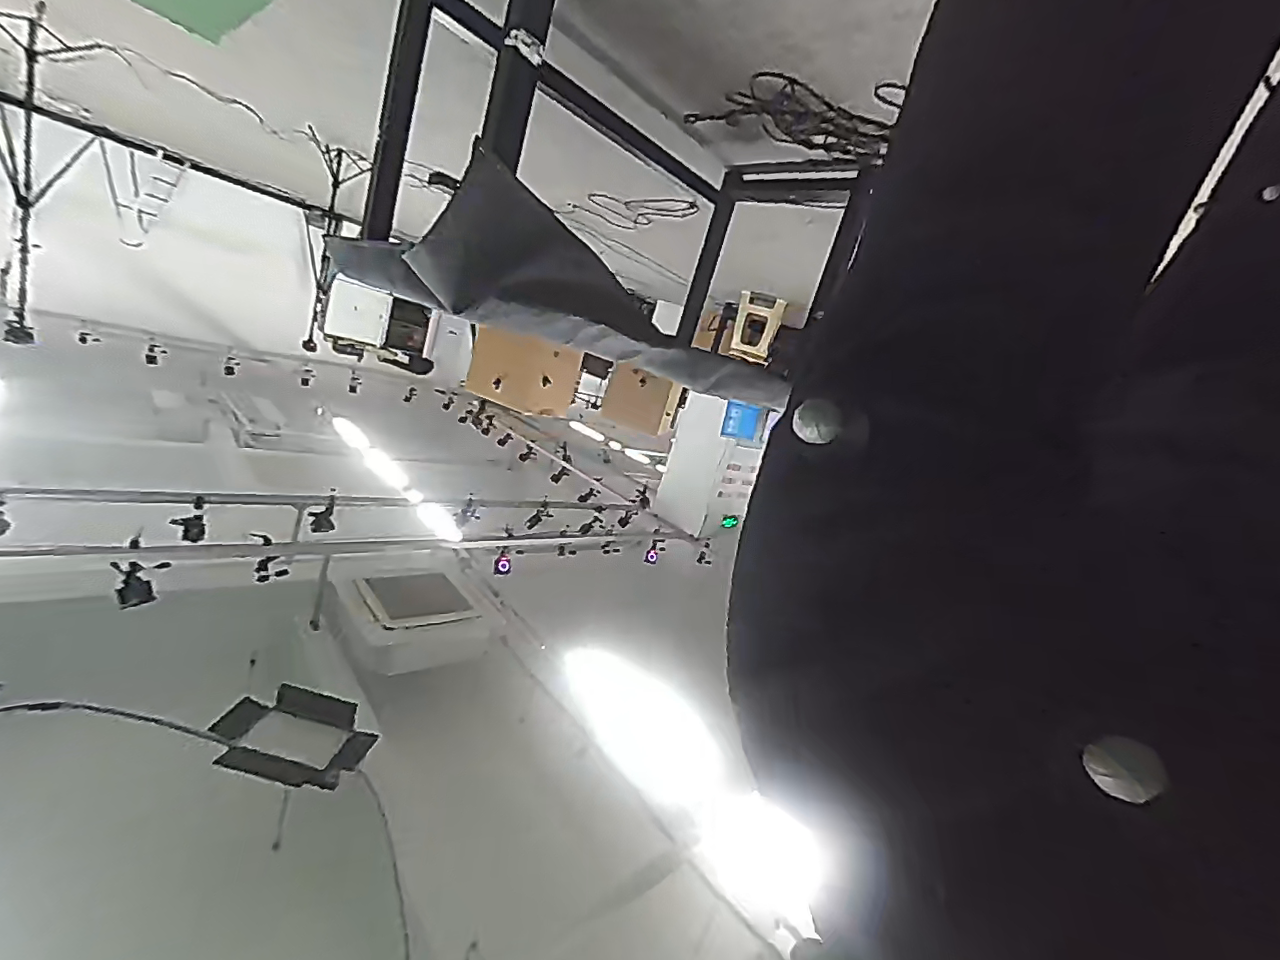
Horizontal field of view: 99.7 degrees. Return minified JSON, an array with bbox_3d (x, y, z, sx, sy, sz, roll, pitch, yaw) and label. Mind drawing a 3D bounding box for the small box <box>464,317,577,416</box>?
[{"bbox_3d":[-0.258,-0.251,1.204,0.179,0.176,0.168,24,-167,23],"label":"small box"}]
